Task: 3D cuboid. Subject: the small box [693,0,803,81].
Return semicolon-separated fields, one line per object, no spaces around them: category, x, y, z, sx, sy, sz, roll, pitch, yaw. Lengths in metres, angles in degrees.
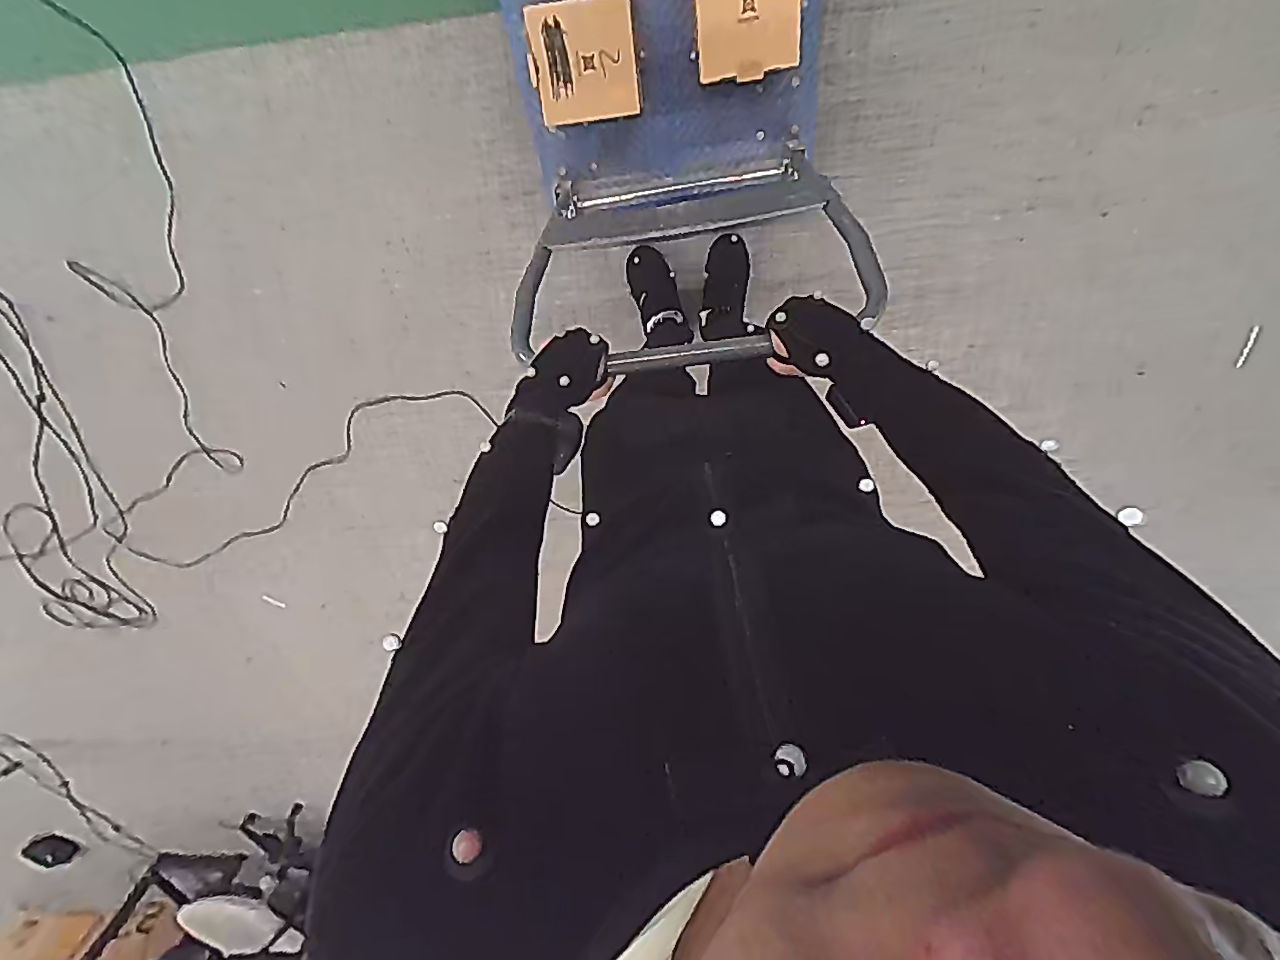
small box;0.179;-0.804;0.921;0.168;0.176;0.179;-5;130;7
